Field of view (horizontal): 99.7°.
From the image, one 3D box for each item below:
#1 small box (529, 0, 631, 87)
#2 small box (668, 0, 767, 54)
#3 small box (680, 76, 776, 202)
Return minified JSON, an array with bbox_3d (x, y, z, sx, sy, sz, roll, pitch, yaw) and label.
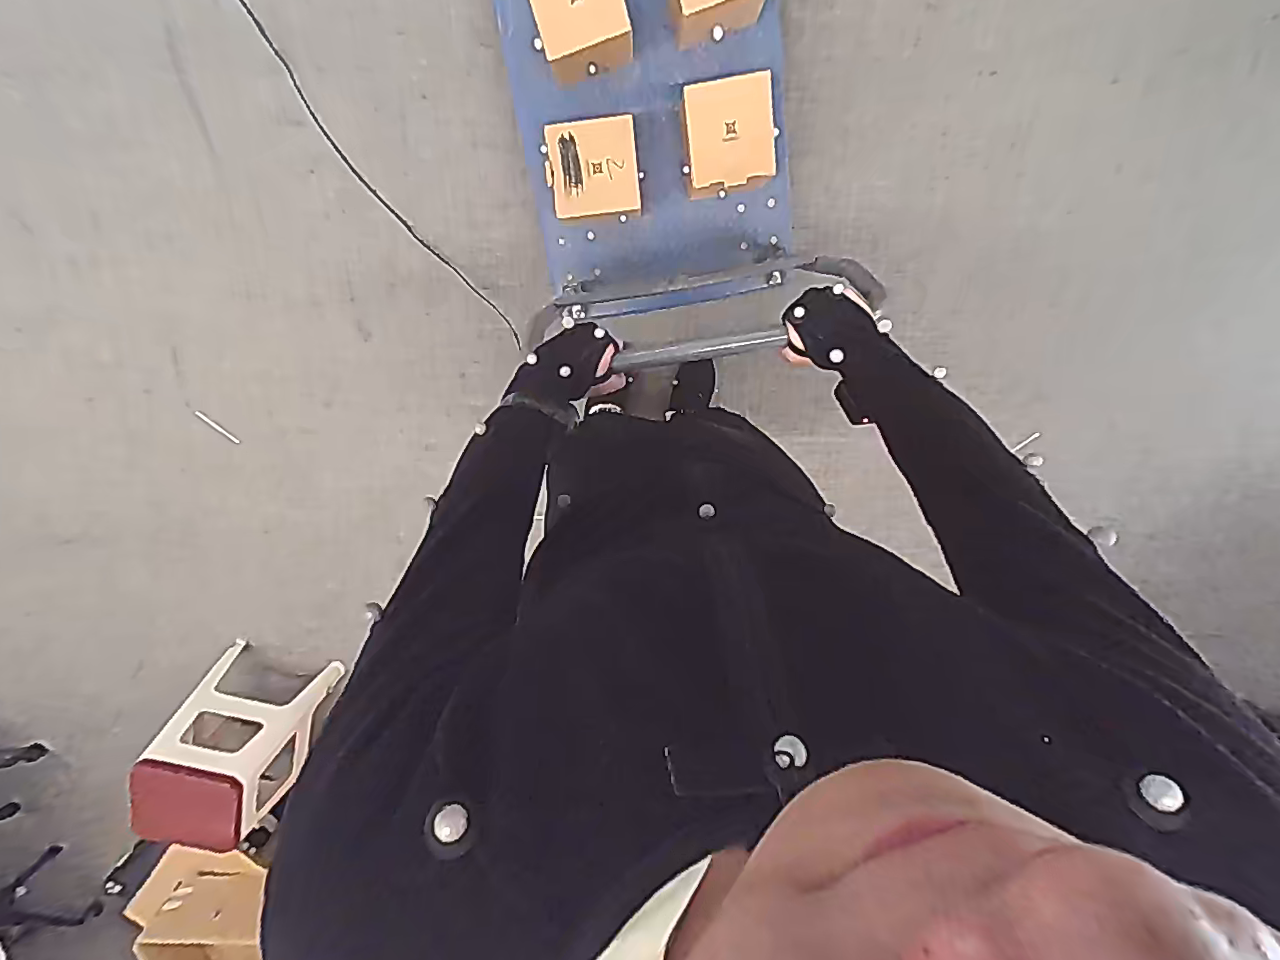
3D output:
[{"bbox_3d":[-0.116,-0.899,1.049,0.168,0.176,0.179,-16,109,6],"label":"small box"},{"bbox_3d":[0.136,-0.962,1.024,0.168,0.176,0.179,-15,110,6],"label":"small box"},{"bbox_3d":[0.177,-0.696,1.123,0.168,0.176,0.179,-8,110,4],"label":"small box"}]
